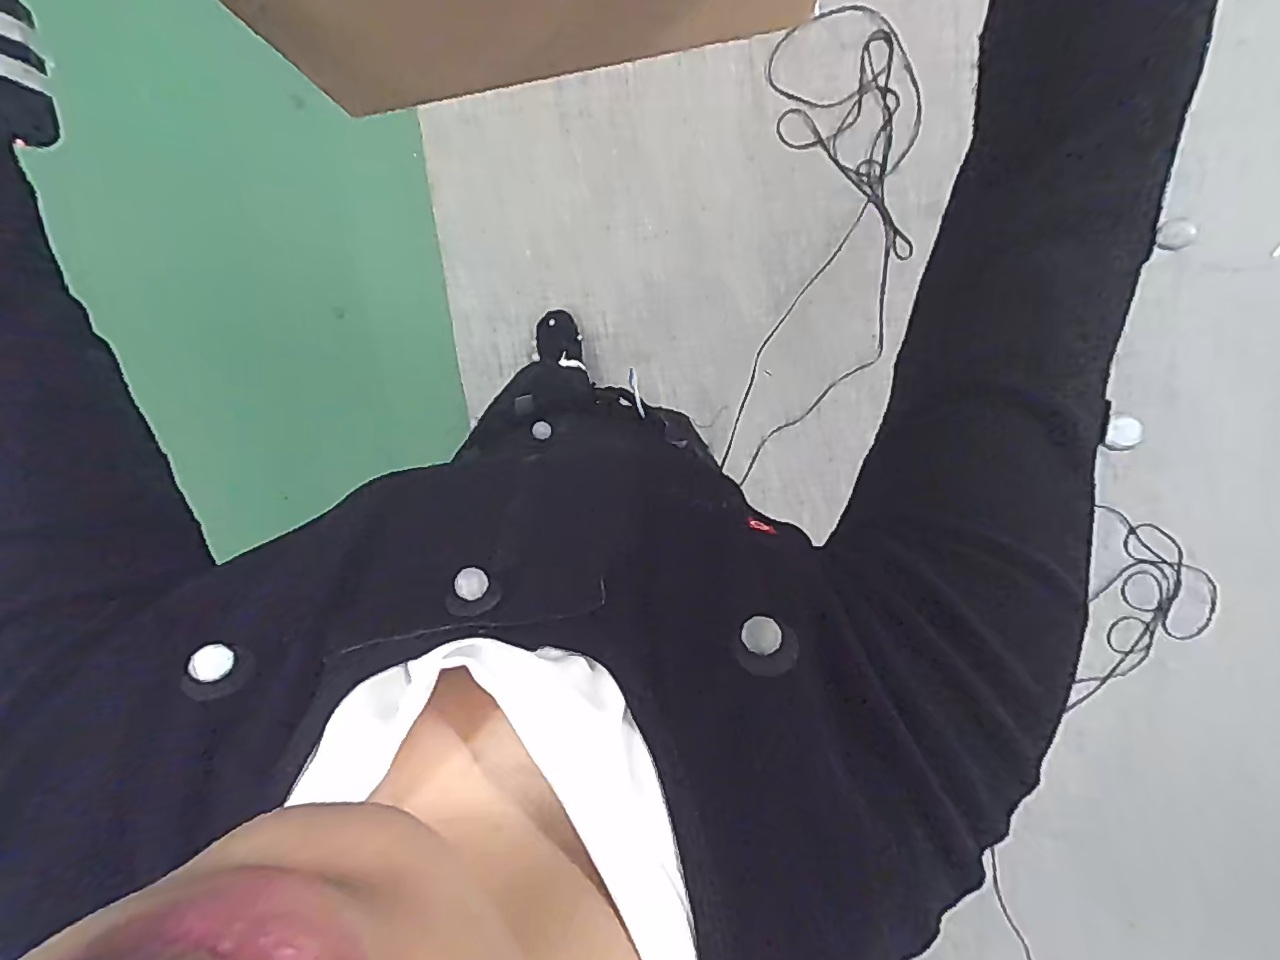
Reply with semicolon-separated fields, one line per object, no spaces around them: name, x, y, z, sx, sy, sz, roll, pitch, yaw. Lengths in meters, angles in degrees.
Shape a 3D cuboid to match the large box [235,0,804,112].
large box;-0.091;-0.479;0.298;0.408;0.320;0.320;-9;98;4
